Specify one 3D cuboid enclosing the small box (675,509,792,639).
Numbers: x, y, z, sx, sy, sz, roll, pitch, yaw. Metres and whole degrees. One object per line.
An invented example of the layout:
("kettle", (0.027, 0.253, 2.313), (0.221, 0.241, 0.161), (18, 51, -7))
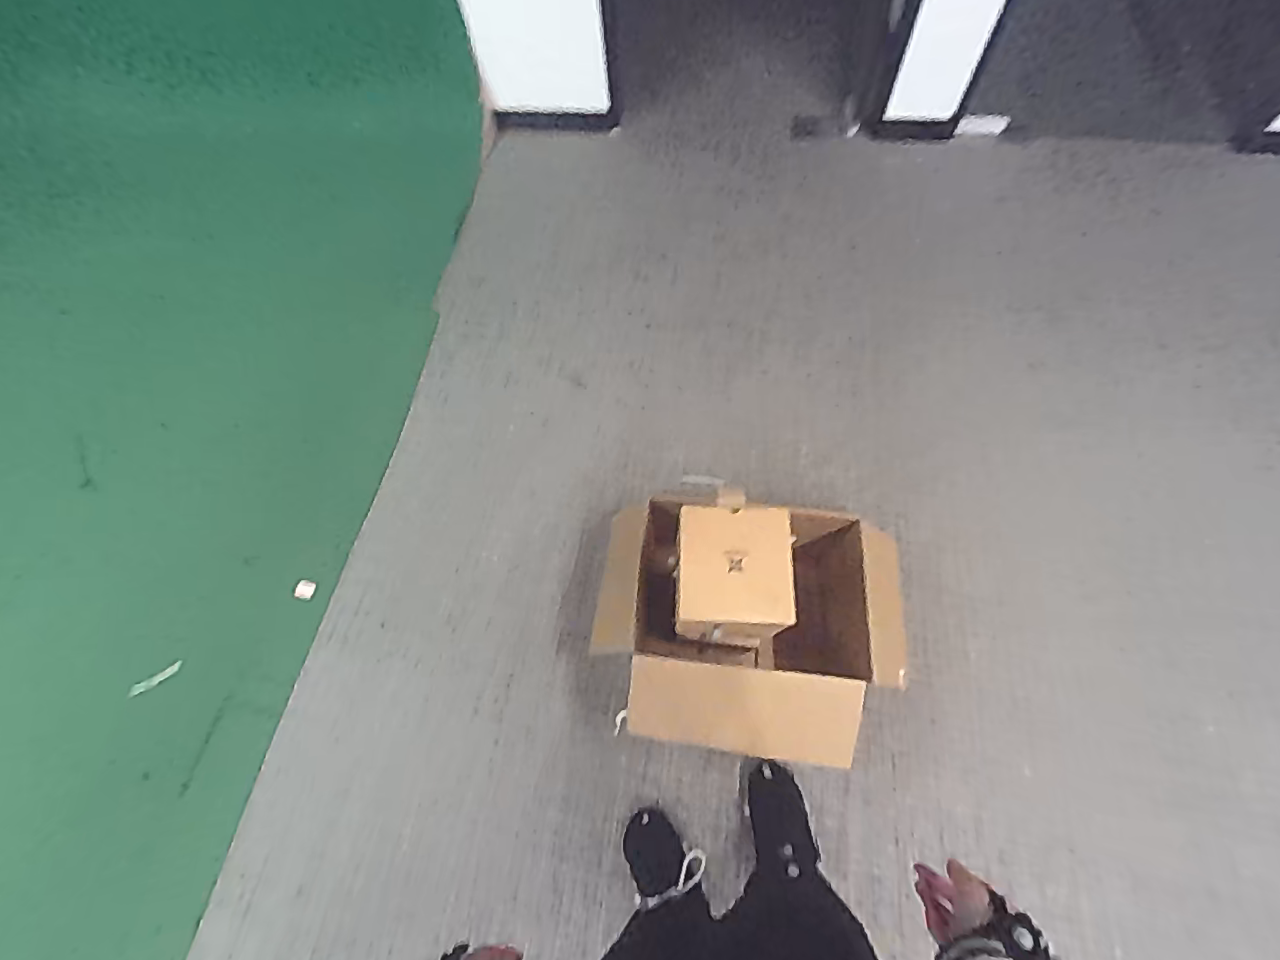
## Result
("small box", (0.141, 0.156, 0.868), (0.168, 0.176, 0.179), (1, 66, 3))
